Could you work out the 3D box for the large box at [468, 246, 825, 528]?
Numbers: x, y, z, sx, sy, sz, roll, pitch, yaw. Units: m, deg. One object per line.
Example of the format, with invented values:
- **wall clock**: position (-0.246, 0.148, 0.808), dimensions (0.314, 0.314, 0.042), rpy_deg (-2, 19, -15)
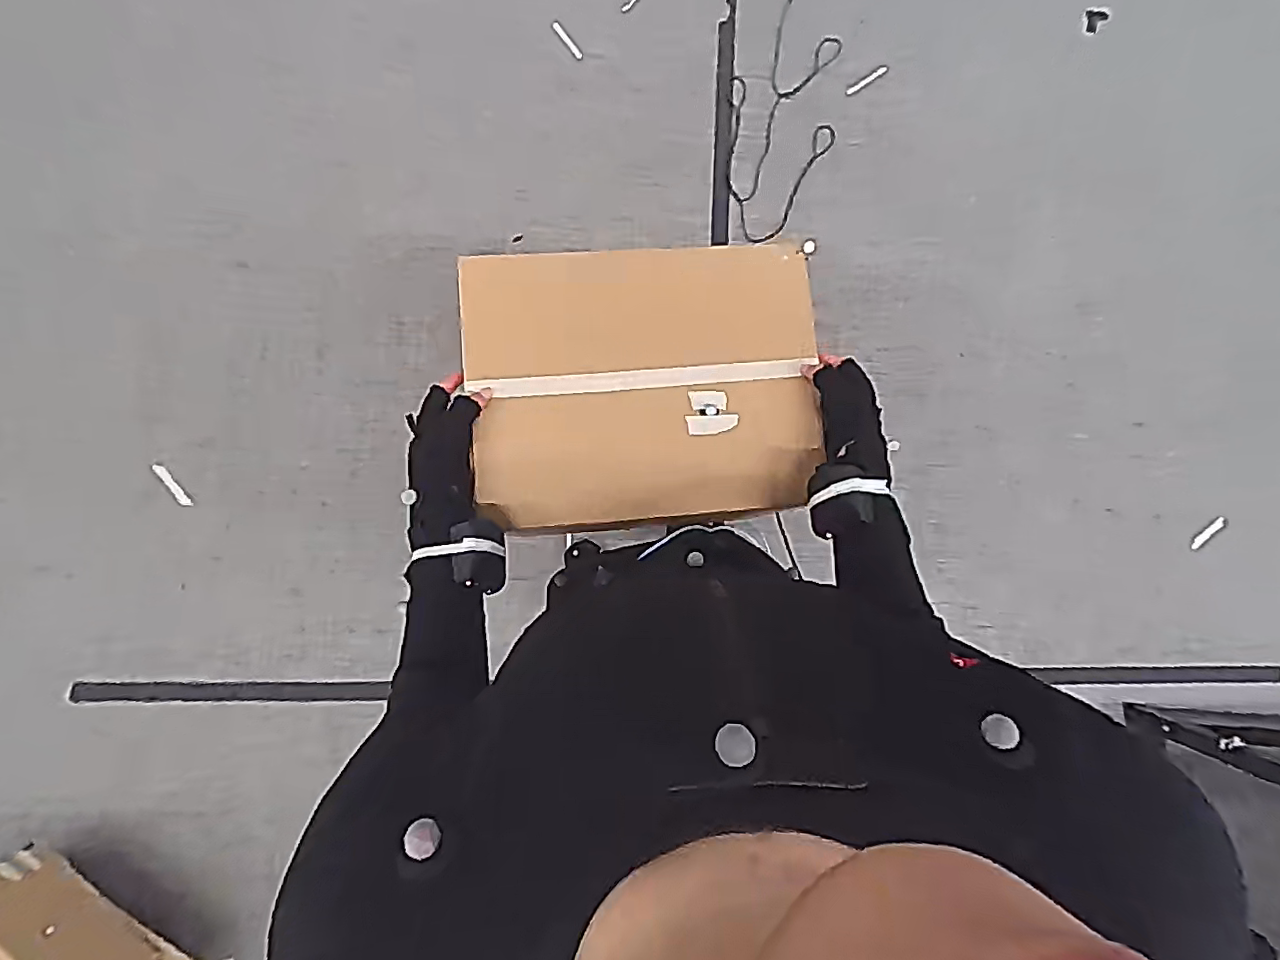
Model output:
- **large box**: position (-0.006, -0.105, 0.776), dimensions (0.408, 0.320, 0.320), rpy_deg (-4, 85, -6)
